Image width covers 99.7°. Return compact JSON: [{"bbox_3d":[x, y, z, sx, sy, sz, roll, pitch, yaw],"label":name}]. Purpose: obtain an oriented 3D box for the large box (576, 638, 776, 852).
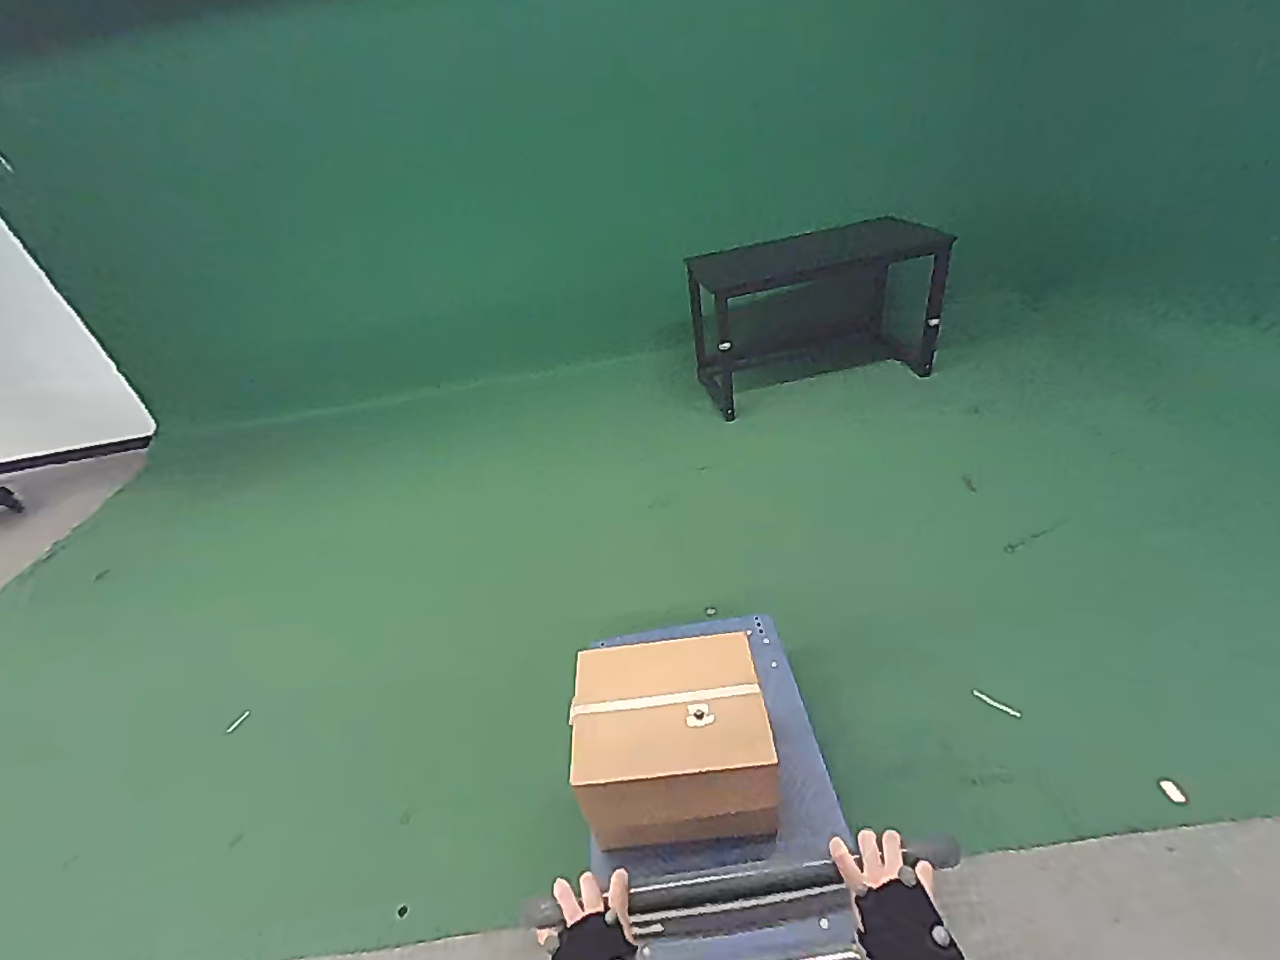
[{"bbox_3d":[0.078,0.611,1.255,0.408,0.320,0.320,-7,35,2],"label":"large box"}]
